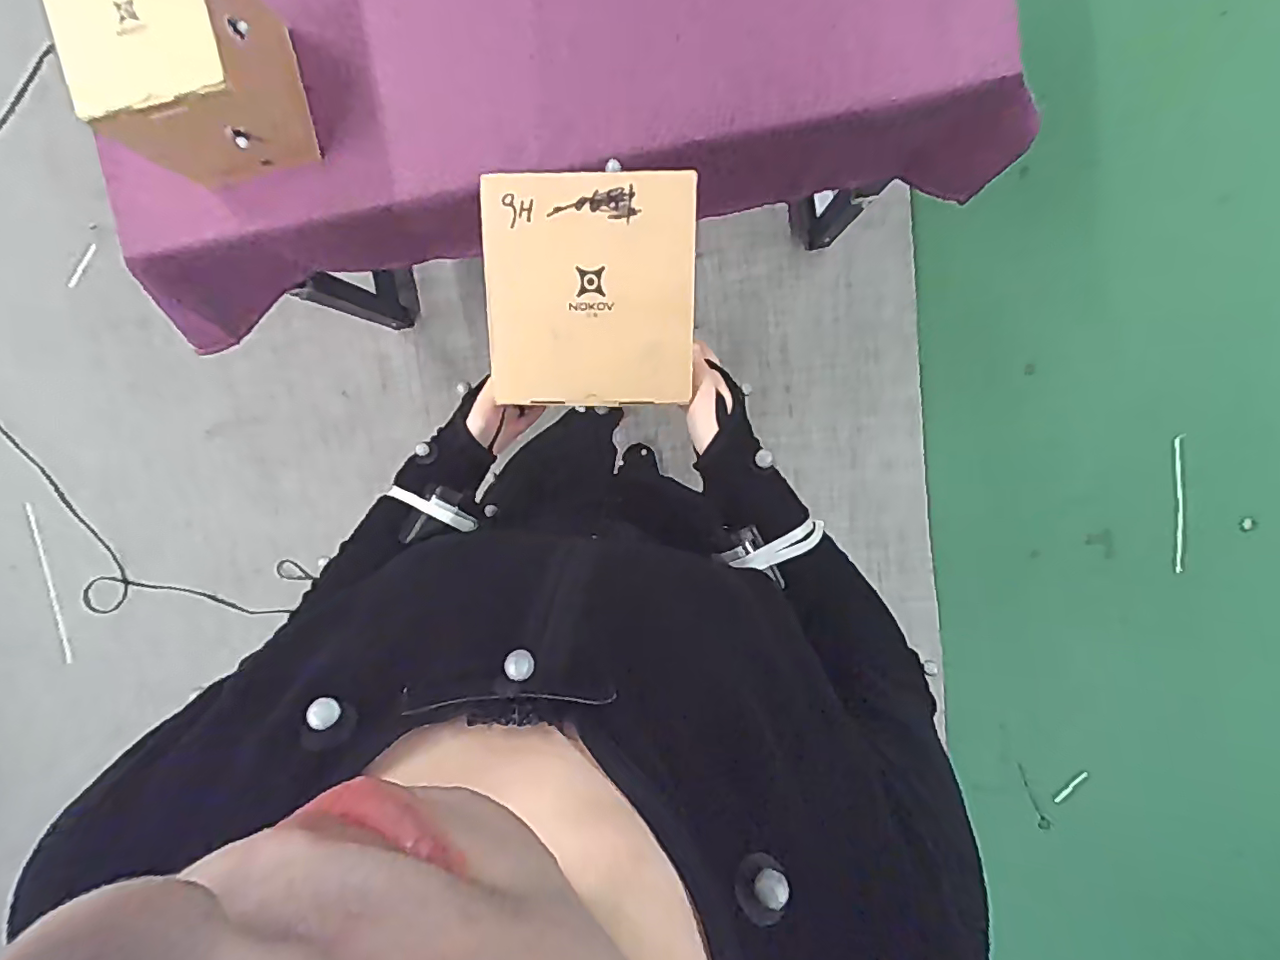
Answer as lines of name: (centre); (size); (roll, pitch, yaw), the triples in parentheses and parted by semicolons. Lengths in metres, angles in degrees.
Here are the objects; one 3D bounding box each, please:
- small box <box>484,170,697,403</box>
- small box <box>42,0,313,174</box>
small box: (-0.037, -0.169, 0.506); (0.168, 0.176, 0.179); (1, 104, 1)
small box: (-0.520, -0.485, 0.630); (0.168, 0.176, 0.179); (-11, 96, 2)
